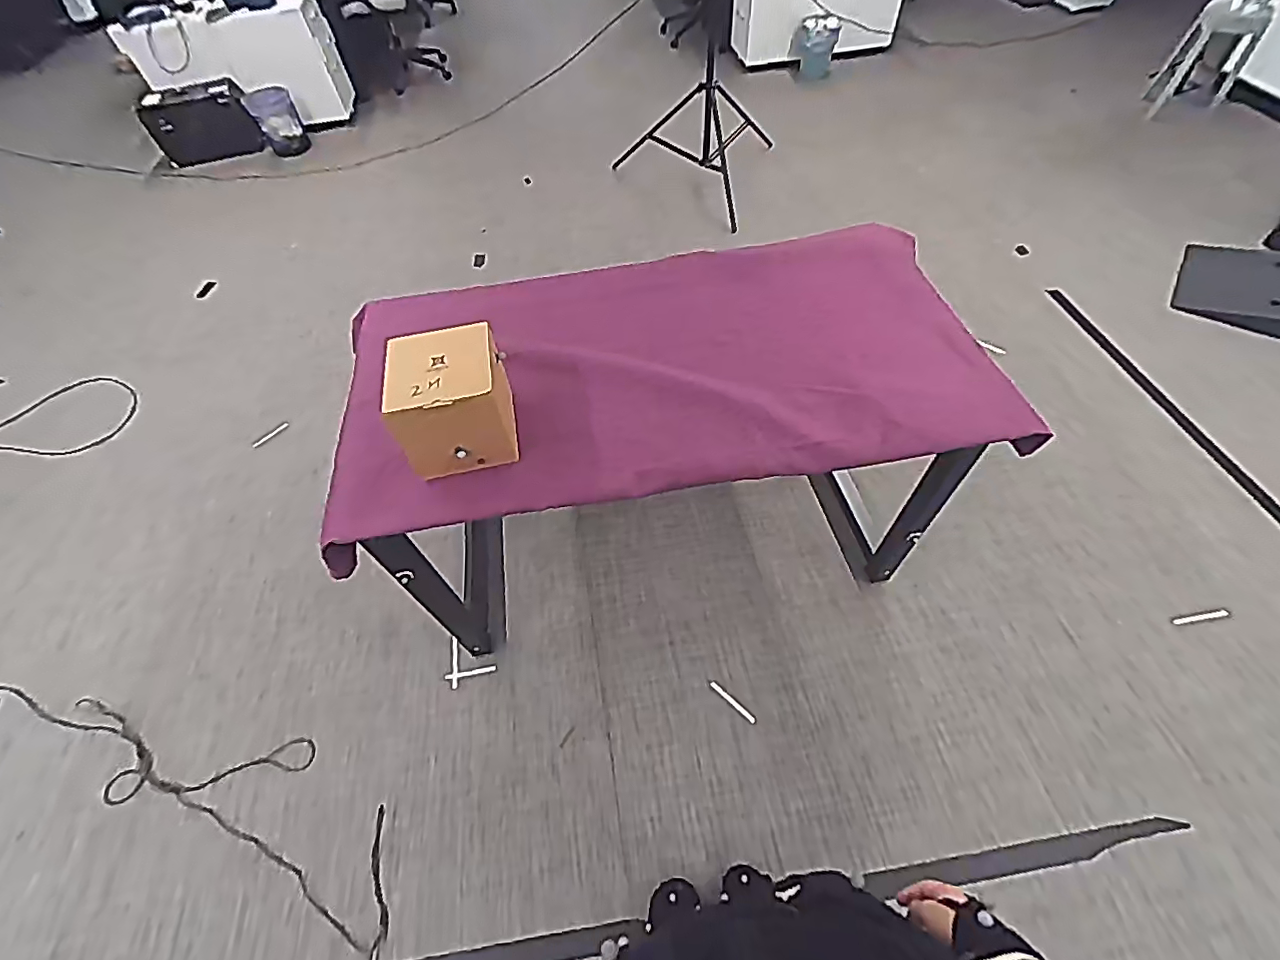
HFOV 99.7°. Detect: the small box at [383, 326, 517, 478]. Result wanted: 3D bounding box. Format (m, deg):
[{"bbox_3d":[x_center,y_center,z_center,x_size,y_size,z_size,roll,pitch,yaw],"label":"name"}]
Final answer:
[{"bbox_3d":[-0.313,-0.130,0.919,0.168,0.176,0.179,-12,55,-4],"label":"small box"}]
